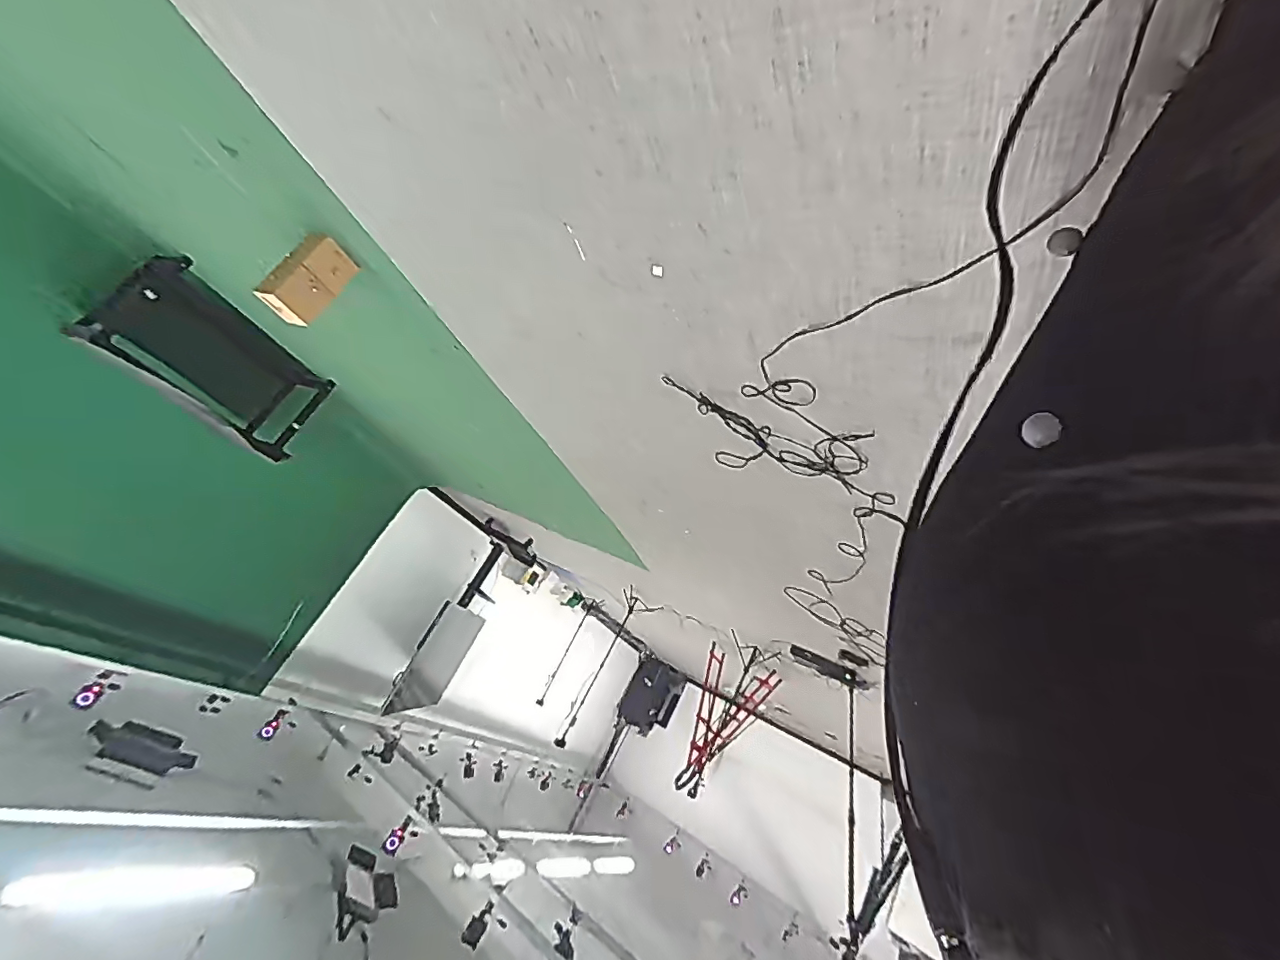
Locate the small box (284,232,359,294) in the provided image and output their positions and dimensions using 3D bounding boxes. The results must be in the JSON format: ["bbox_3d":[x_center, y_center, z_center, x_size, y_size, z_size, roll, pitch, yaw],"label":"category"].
[{"bbox_3d":[-1.277,-0.879,2.184,0.179,0.176,0.168,18,159,32],"label":"small box"}]
